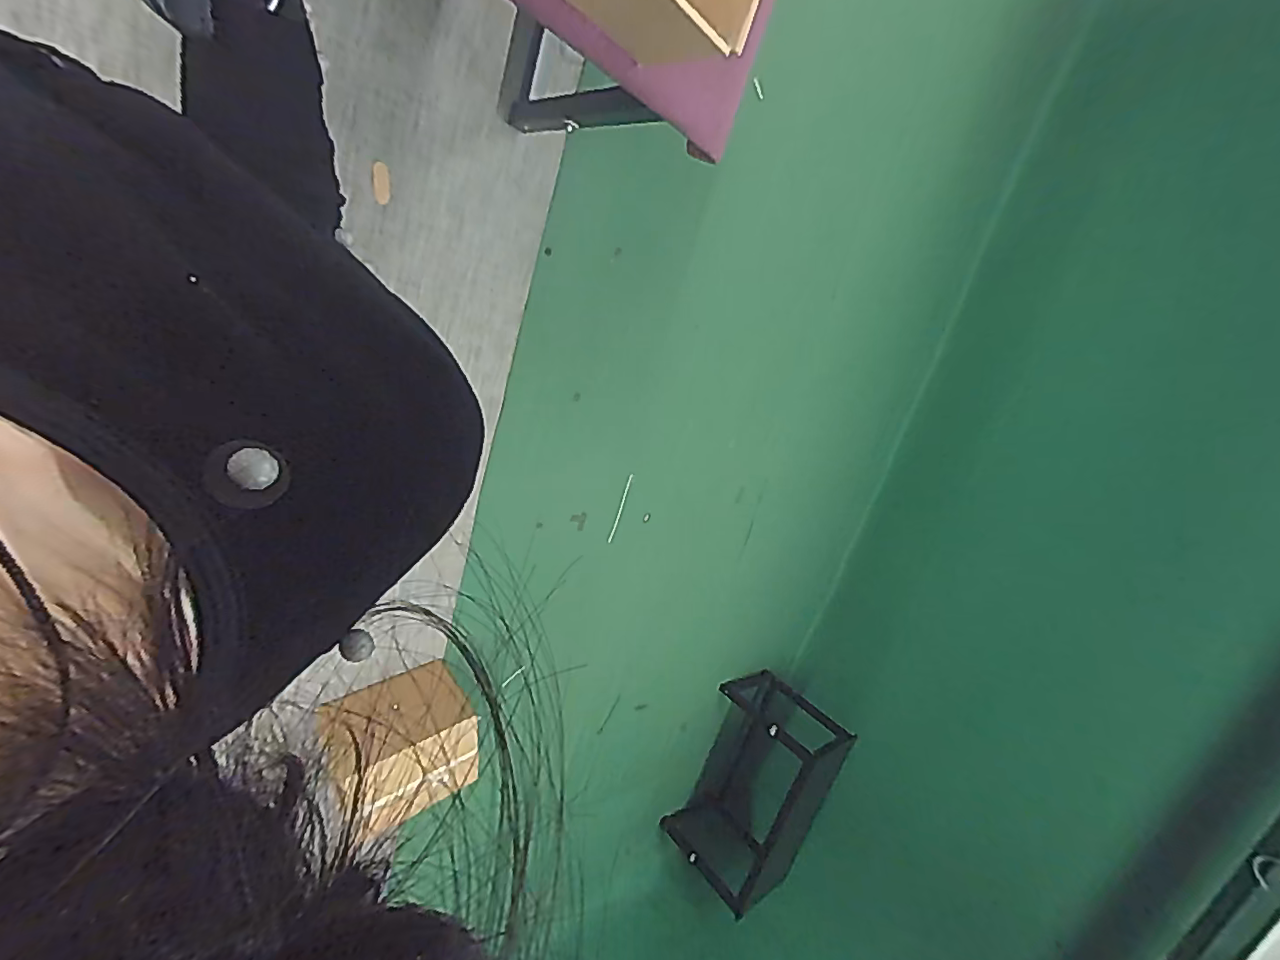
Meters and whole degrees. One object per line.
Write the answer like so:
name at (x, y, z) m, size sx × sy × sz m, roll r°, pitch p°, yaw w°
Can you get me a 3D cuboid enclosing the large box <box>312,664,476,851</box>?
large box at (-0.799, 0.884, 1.780) m, size 0.408 × 0.320 × 0.320 m, roll -15°, pitch 123°, yaw -40°
